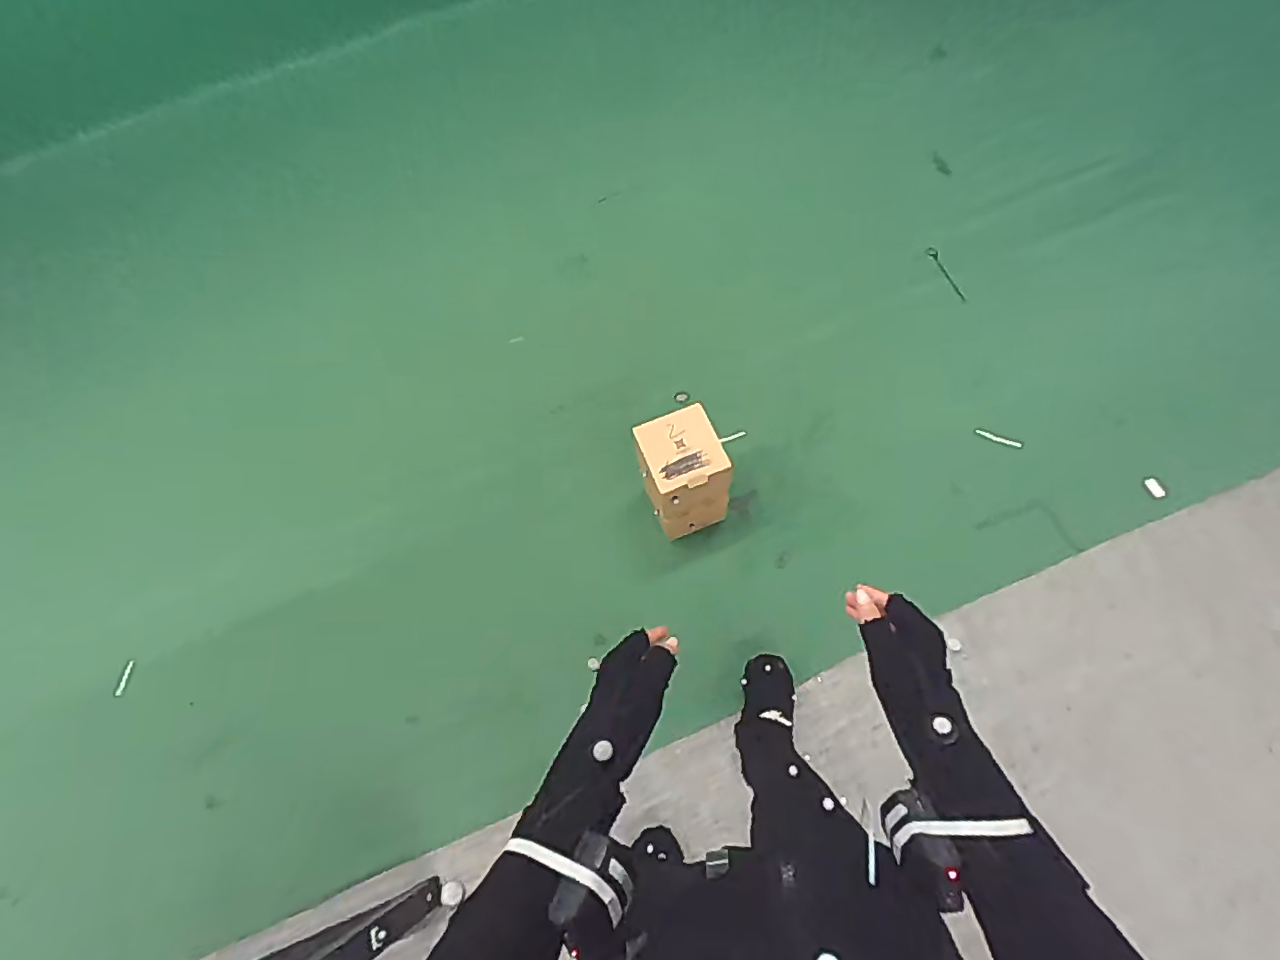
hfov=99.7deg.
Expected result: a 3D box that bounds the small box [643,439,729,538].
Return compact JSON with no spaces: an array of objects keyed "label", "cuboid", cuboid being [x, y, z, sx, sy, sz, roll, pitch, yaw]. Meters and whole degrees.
[{"label":"small box","cuboid":[0.117,0.027,1.399,0.168,0.176,0.179,-22,68,-3]}]
